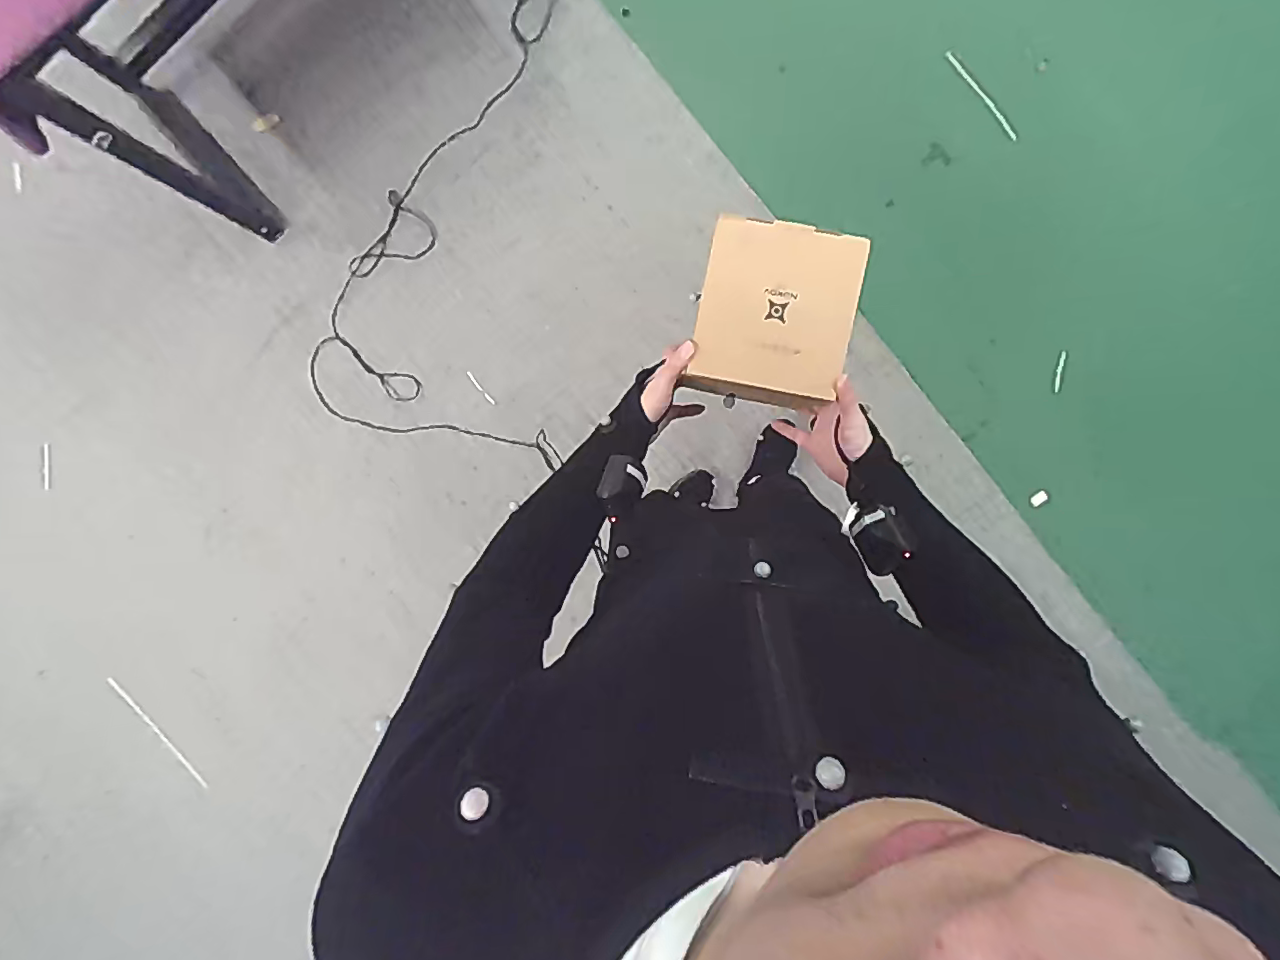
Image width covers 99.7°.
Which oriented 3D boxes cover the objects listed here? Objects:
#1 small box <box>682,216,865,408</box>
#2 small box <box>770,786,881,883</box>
[{"bbox_3d":[0.147,-0.190,0.662,0.168,0.176,0.179,11,96,1],"label":"small box"},{"bbox_3d":[0.415,0.834,1.202,0.168,0.176,0.179,-33,92,3],"label":"small box"}]
